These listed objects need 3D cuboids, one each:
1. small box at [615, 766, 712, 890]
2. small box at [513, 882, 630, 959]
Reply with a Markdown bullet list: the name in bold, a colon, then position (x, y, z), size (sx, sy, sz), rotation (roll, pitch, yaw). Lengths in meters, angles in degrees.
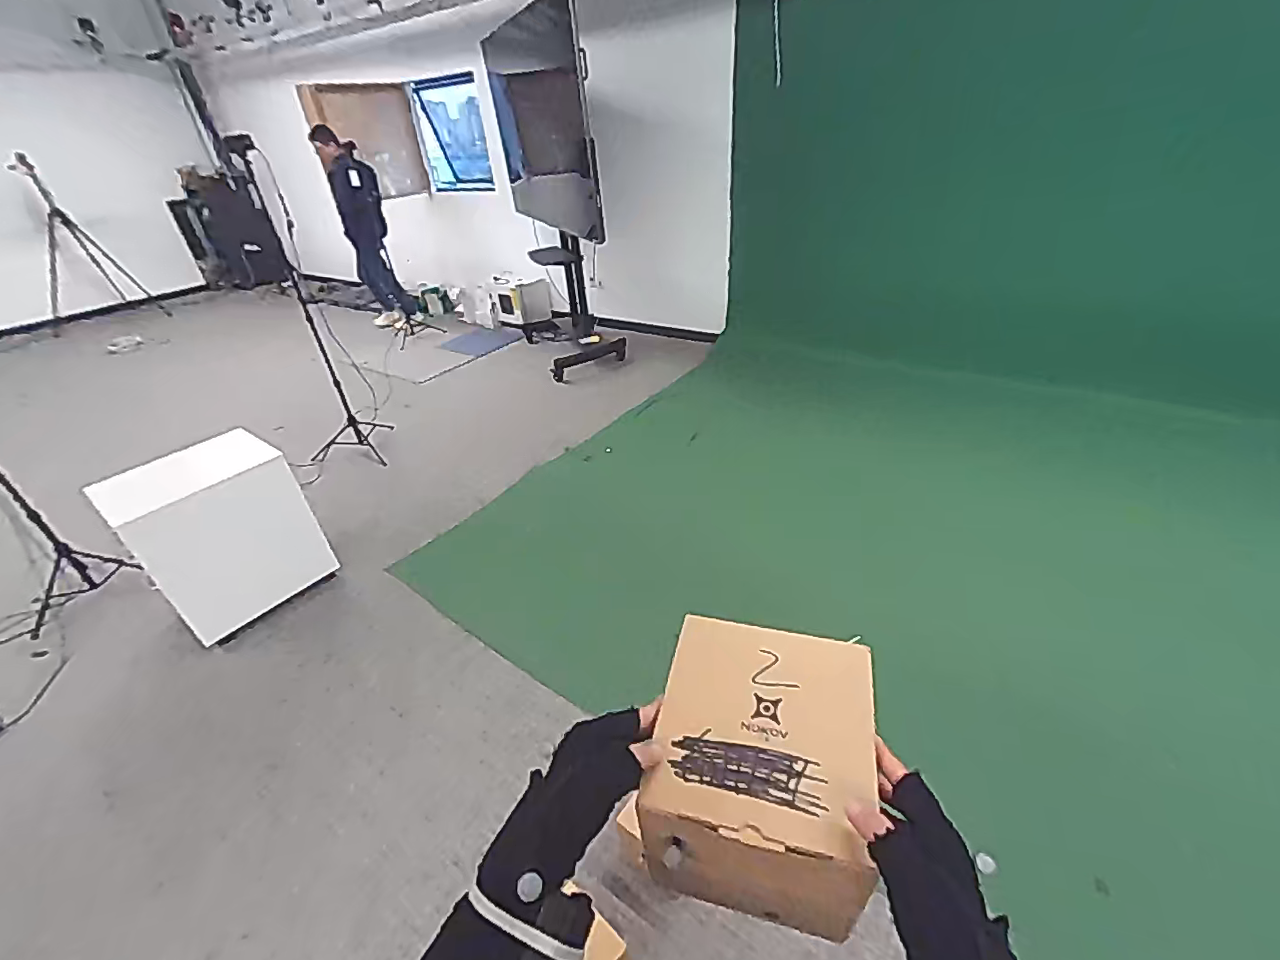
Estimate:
- **small box**: position (0.062, 0.855, 1.322), size (0.179, 0.176, 0.168), rotation (19, 40, 32)
- **small box**: position (-0.136, 1.003, 1.120), size (0.179, 0.176, 0.168), rotation (24, 42, 35)
